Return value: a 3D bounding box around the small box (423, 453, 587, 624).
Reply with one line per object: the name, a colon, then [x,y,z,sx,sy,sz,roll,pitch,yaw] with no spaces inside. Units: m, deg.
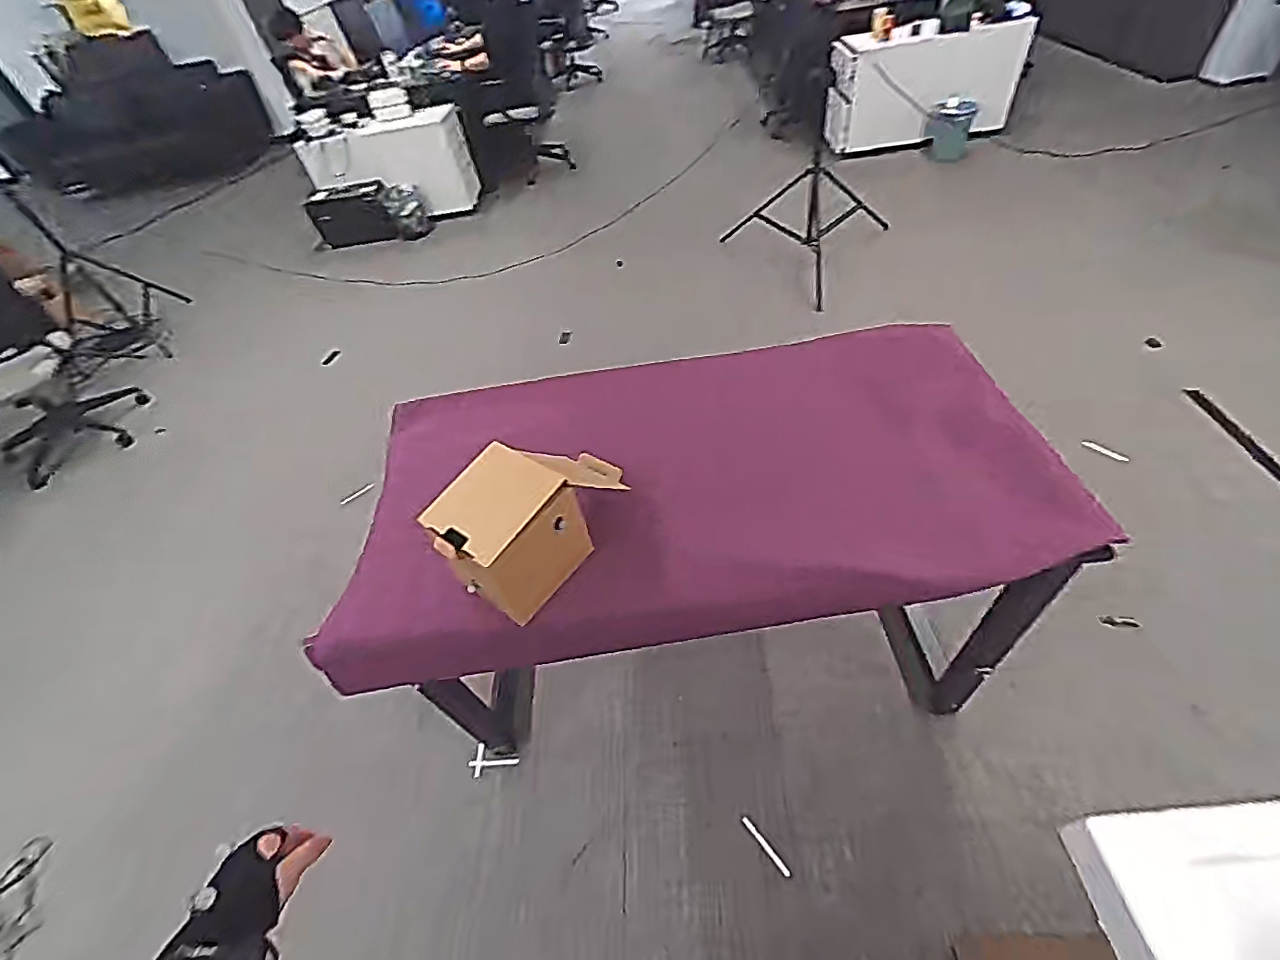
small box: [-0.202,0.093,0.870,0.168,0.176,0.179,25,56,31]
